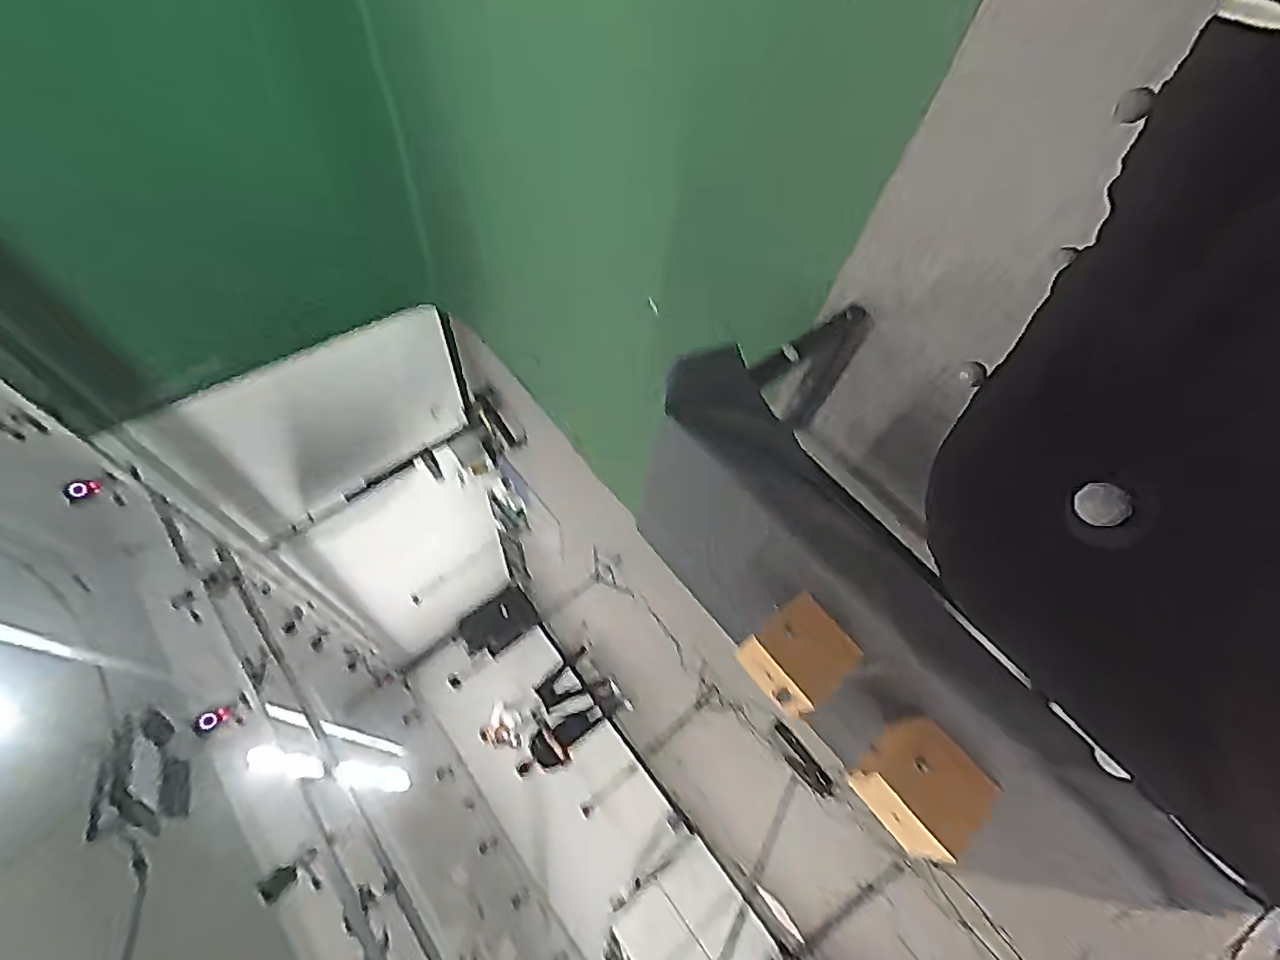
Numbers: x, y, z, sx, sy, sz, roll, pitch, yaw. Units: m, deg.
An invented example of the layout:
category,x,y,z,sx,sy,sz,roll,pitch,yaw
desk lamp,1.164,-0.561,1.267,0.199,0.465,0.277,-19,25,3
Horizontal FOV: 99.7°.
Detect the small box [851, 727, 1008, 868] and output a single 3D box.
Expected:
category,x,y,z,sx,sy,sz,roll,pitch,yaw
small box,0.560,0.610,1.059,0.179,0.176,0.168,46,155,20
